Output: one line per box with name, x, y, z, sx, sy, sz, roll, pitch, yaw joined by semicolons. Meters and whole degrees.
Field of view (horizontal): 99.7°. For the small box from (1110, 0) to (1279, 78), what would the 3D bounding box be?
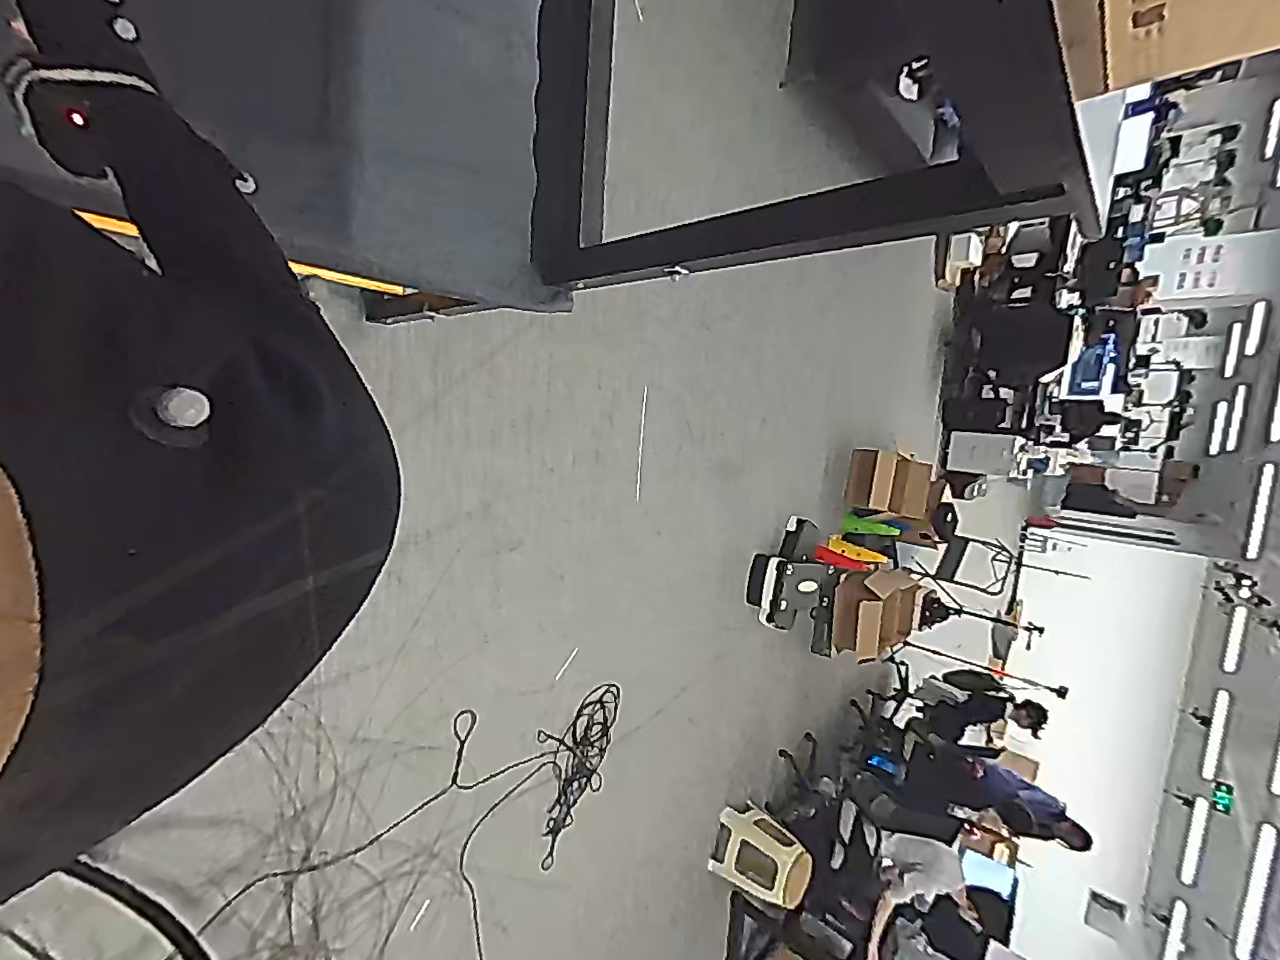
small box;0.347;-0.348;0.259;0.168;0.176;0.179;13;88;-48
